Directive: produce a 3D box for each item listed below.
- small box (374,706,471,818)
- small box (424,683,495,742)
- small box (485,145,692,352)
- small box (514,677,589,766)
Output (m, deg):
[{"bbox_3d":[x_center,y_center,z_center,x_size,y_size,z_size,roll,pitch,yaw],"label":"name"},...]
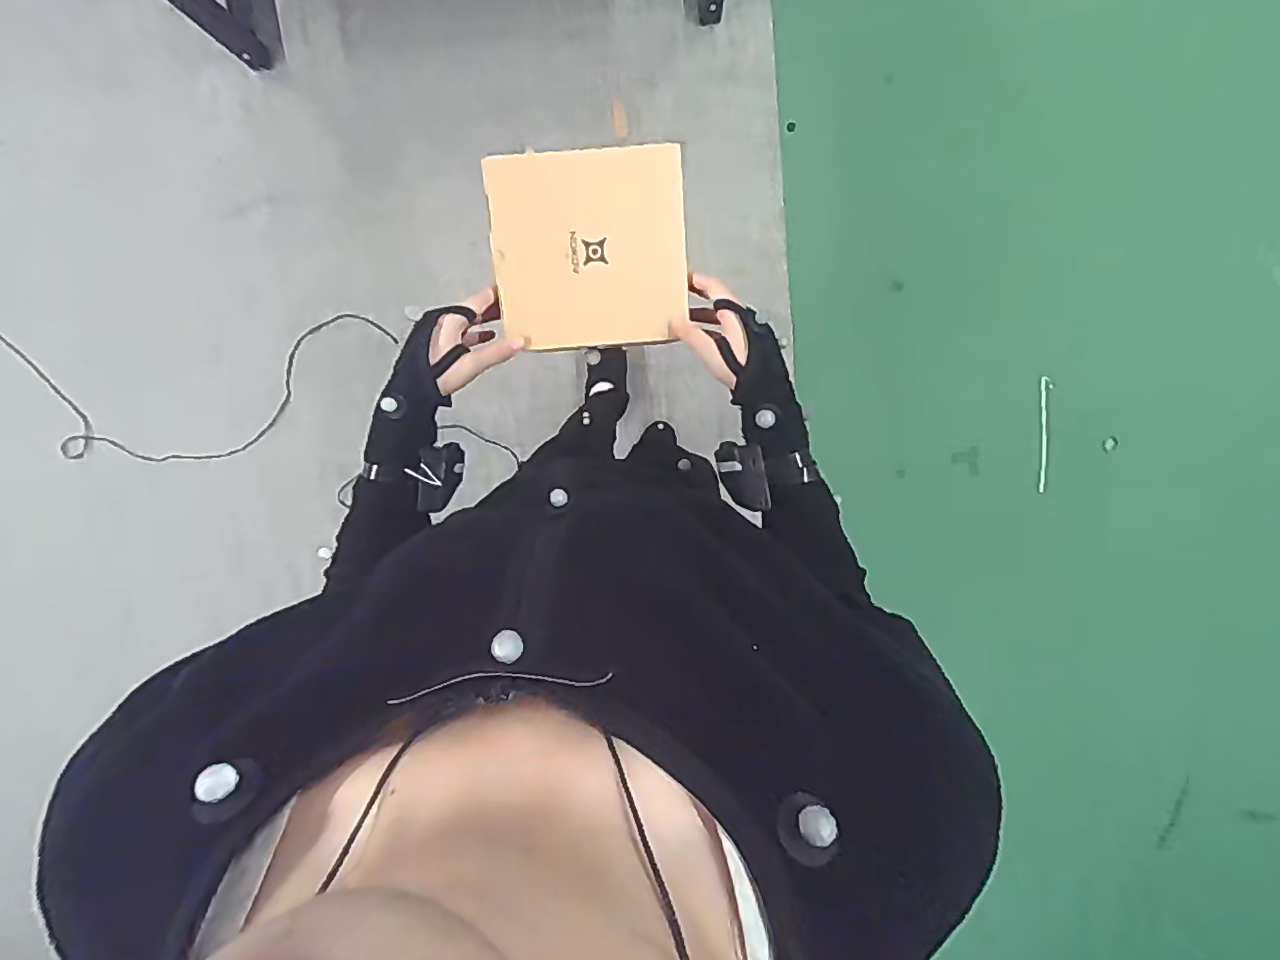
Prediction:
[{"bbox_3d":[-0.525,0.696,1.347,0.168,0.176,0.179,-11,98,2],"label":"small box"},{"bbox_3d":[-0.507,0.694,1.511,0.179,0.176,0.168,-15,97,4],"label":"small box"},{"bbox_3d":[-0.044,-0.226,0.567,0.179,0.176,0.168,-5,103,2],"label":"small box"},{"bbox_3d":[-0.245,0.666,1.495,0.179,0.176,0.168,-11,96,6],"label":"small box"}]
